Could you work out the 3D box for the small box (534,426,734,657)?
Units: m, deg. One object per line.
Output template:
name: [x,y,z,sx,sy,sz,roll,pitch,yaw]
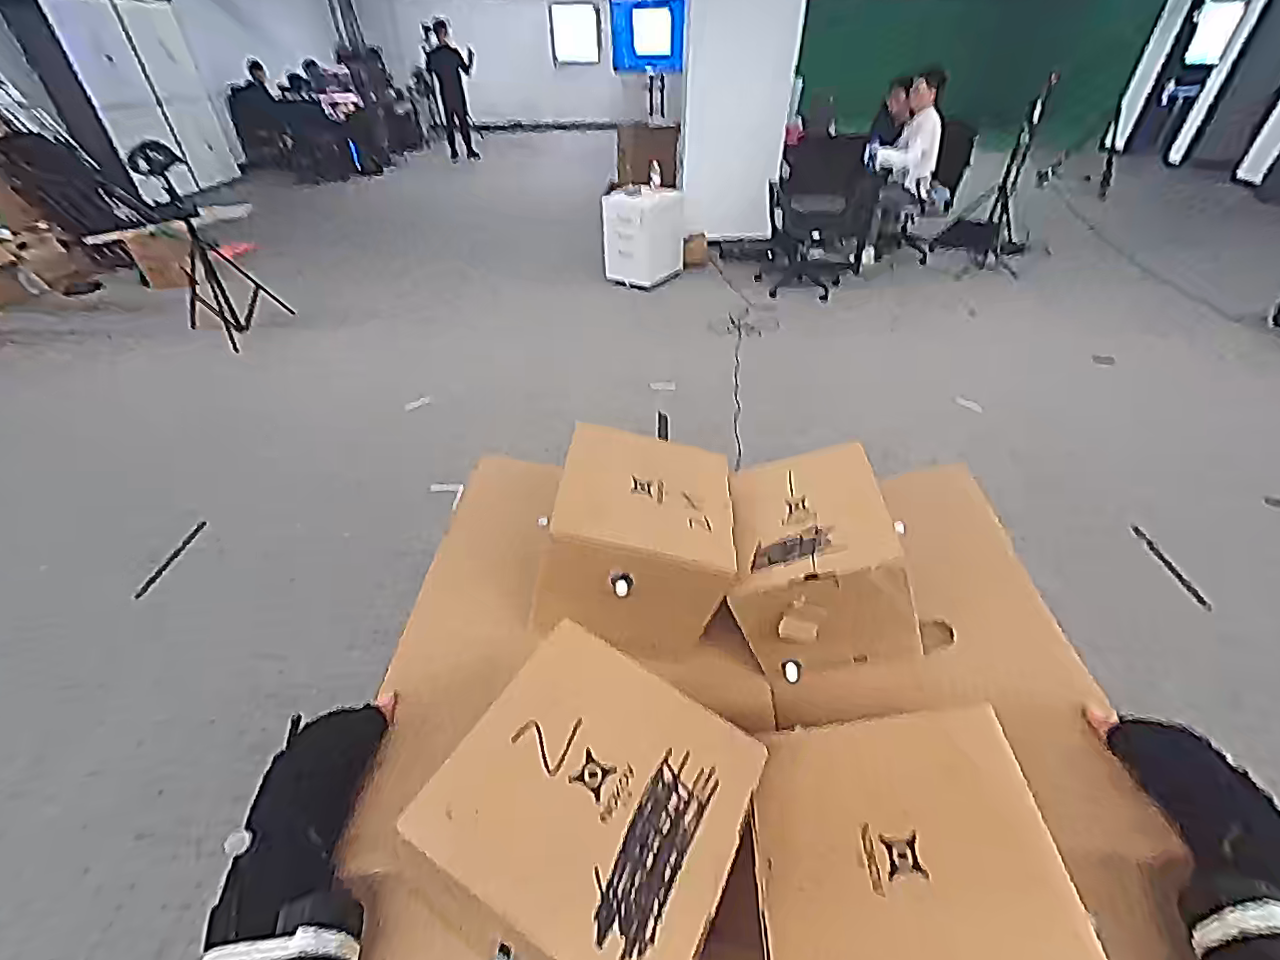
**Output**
small box: [-0.010,0.071,0.592,0.179,0.176,0.168,14,42,-6]
